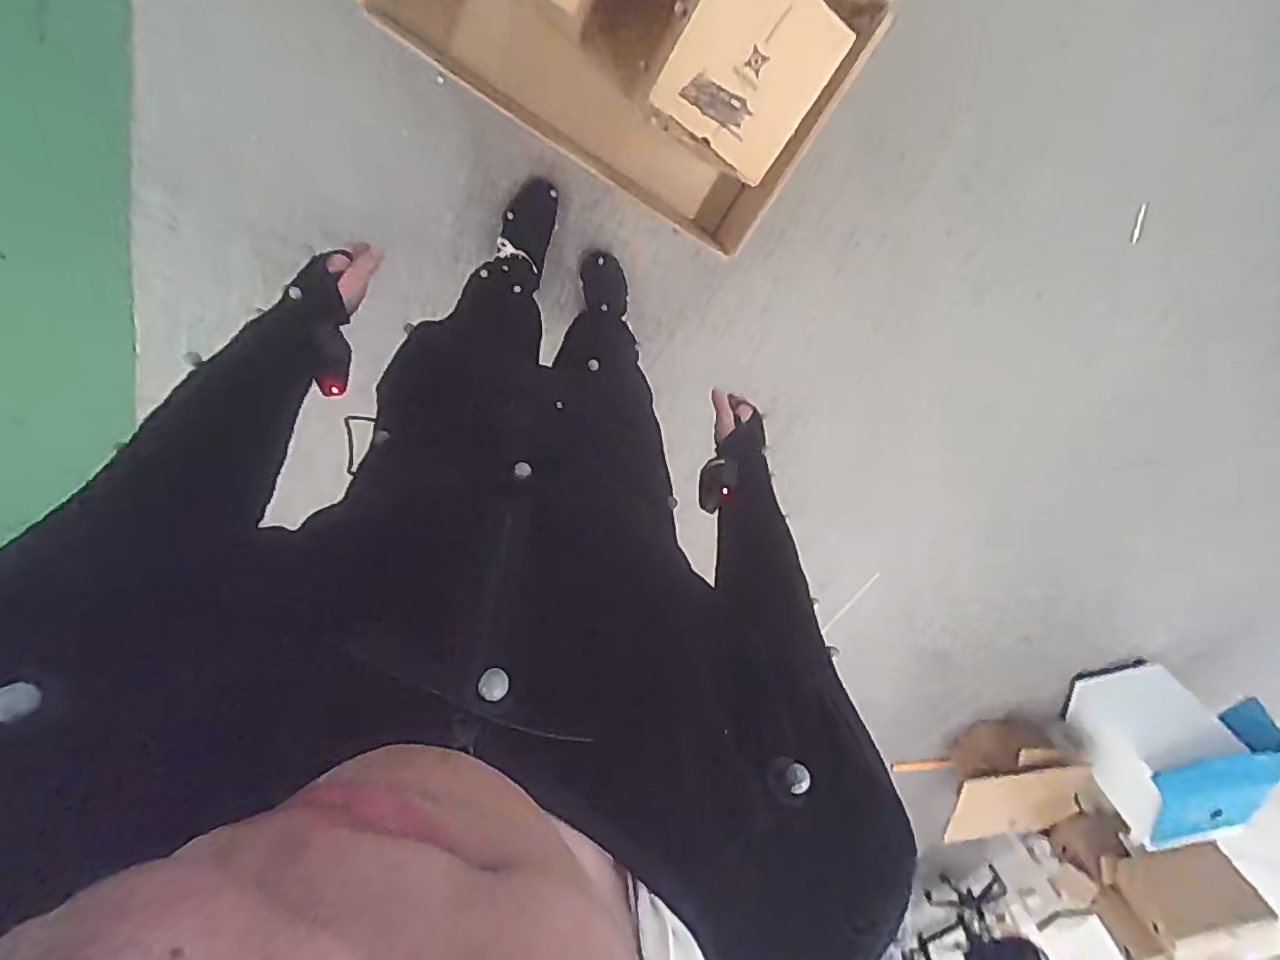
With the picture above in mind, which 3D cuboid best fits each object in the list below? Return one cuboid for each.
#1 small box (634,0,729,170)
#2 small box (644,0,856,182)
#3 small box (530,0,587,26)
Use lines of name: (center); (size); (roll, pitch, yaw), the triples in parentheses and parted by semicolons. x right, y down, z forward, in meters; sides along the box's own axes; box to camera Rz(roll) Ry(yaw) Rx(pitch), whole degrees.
small box: (0.102, -0.593, 0.789); (0.168, 0.176, 0.179); (26, 119, -21)
small box: (0.116, -0.499, 0.654); (0.168, 0.176, 0.179); (26, 118, -22)
small box: (-0.101, -0.617, 0.550); (0.168, 0.176, 0.179); (25, 118, -20)
